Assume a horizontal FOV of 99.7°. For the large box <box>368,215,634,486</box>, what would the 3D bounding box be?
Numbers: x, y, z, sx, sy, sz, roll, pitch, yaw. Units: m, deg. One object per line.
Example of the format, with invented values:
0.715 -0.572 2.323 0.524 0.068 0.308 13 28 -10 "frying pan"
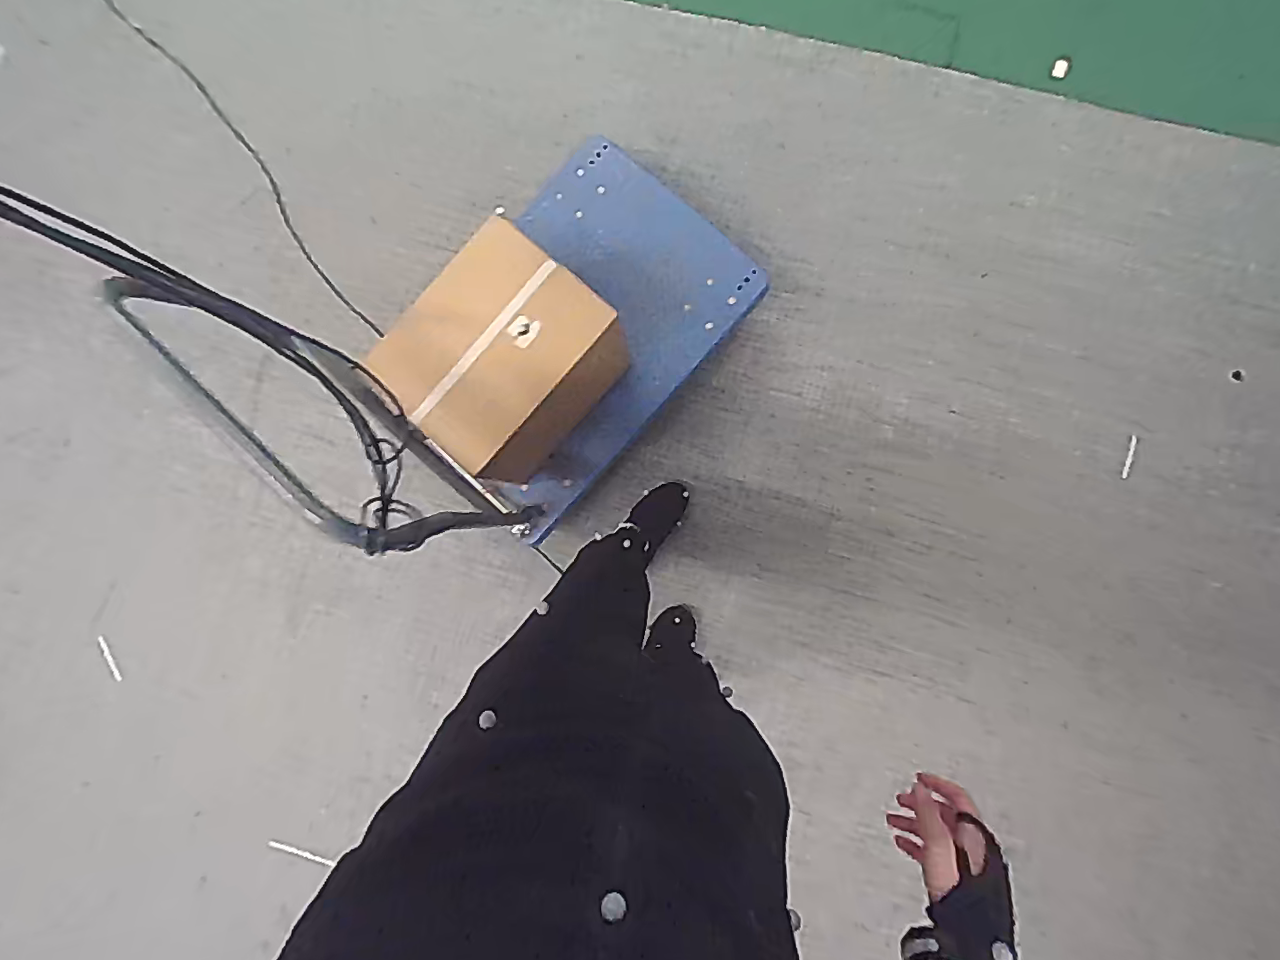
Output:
-0.263 -0.241 1.144 0.320 0.320 0.408 41 89 5 "large box"
